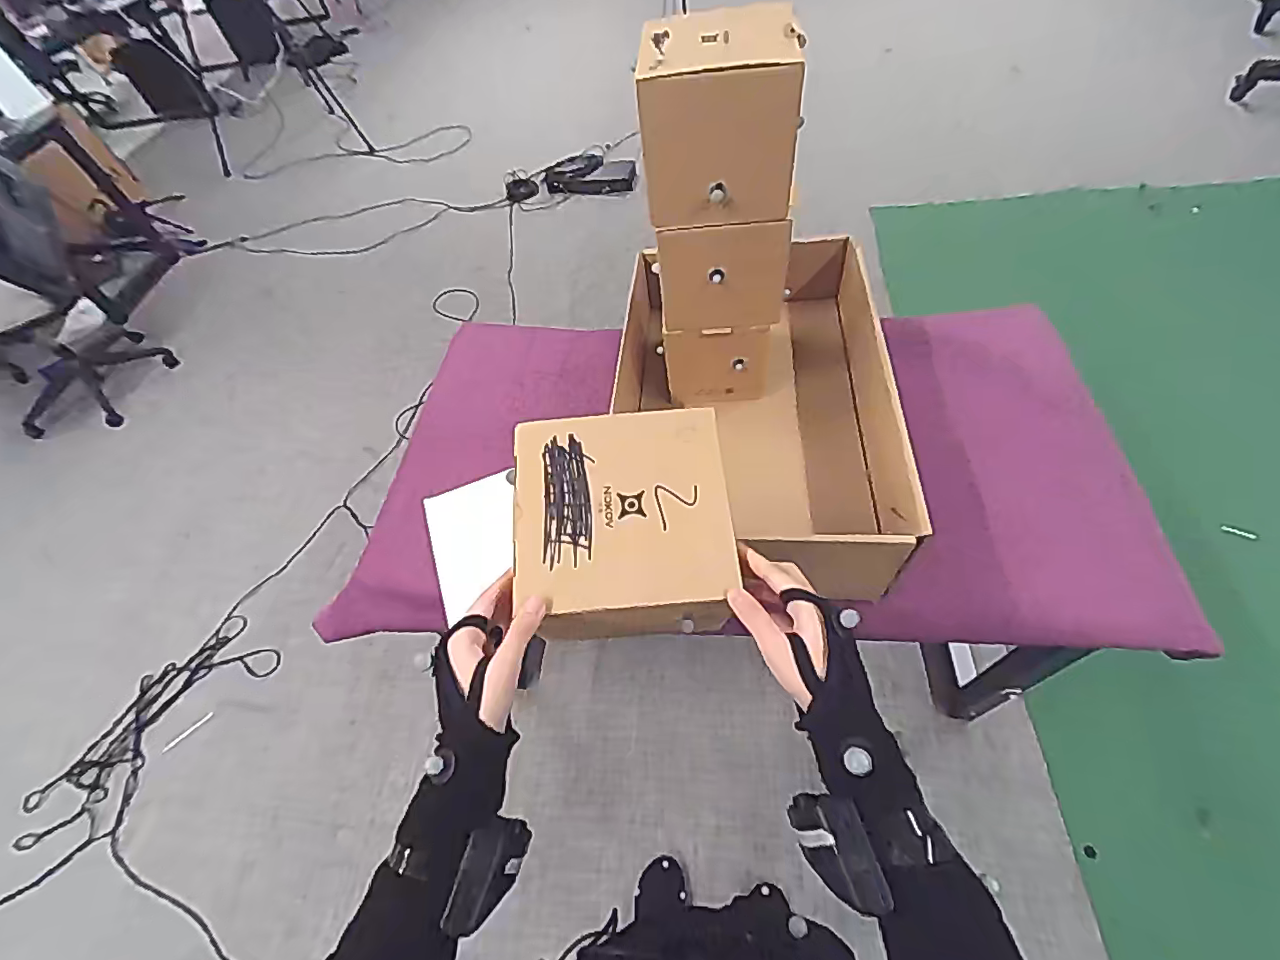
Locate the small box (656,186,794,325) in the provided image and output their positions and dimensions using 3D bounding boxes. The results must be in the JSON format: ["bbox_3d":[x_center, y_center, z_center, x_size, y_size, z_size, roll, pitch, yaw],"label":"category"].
[{"bbox_3d":[0.118,-0.348,0.792,0.179,0.176,0.168,-2,56,7],"label":"small box"}]

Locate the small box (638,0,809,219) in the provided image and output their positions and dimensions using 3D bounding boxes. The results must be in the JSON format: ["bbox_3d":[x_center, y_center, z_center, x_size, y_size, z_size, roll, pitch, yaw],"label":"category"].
[{"bbox_3d":[0.097,-0.442,0.659,0.179,0.176,0.168,0,56,7],"label":"small box"}]
